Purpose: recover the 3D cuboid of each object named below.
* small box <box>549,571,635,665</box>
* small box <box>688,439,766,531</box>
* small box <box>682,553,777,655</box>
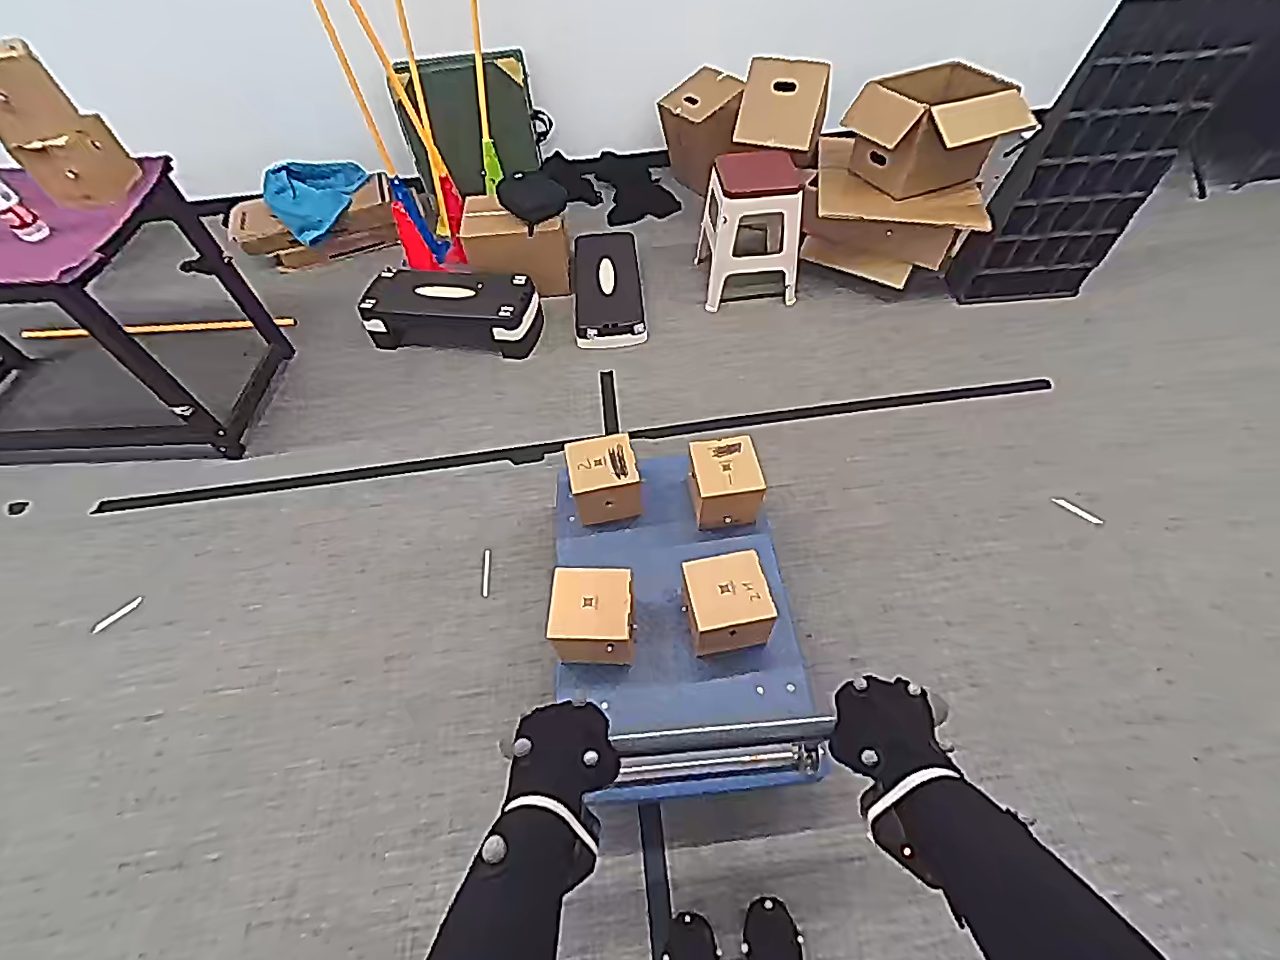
[{"bbox_3d":[-0.103,0.323,1.253,0.179,0.176,0.168,1,54,1],"label":"small box"},{"bbox_3d":[0.225,0.016,1.453,0.168,0.176,0.179,-8,56,-2],"label":"small box"},{"bbox_3d":[0.200,0.294,1.258,0.179,0.176,0.168,-10,55,-4],"label":"small box"}]
